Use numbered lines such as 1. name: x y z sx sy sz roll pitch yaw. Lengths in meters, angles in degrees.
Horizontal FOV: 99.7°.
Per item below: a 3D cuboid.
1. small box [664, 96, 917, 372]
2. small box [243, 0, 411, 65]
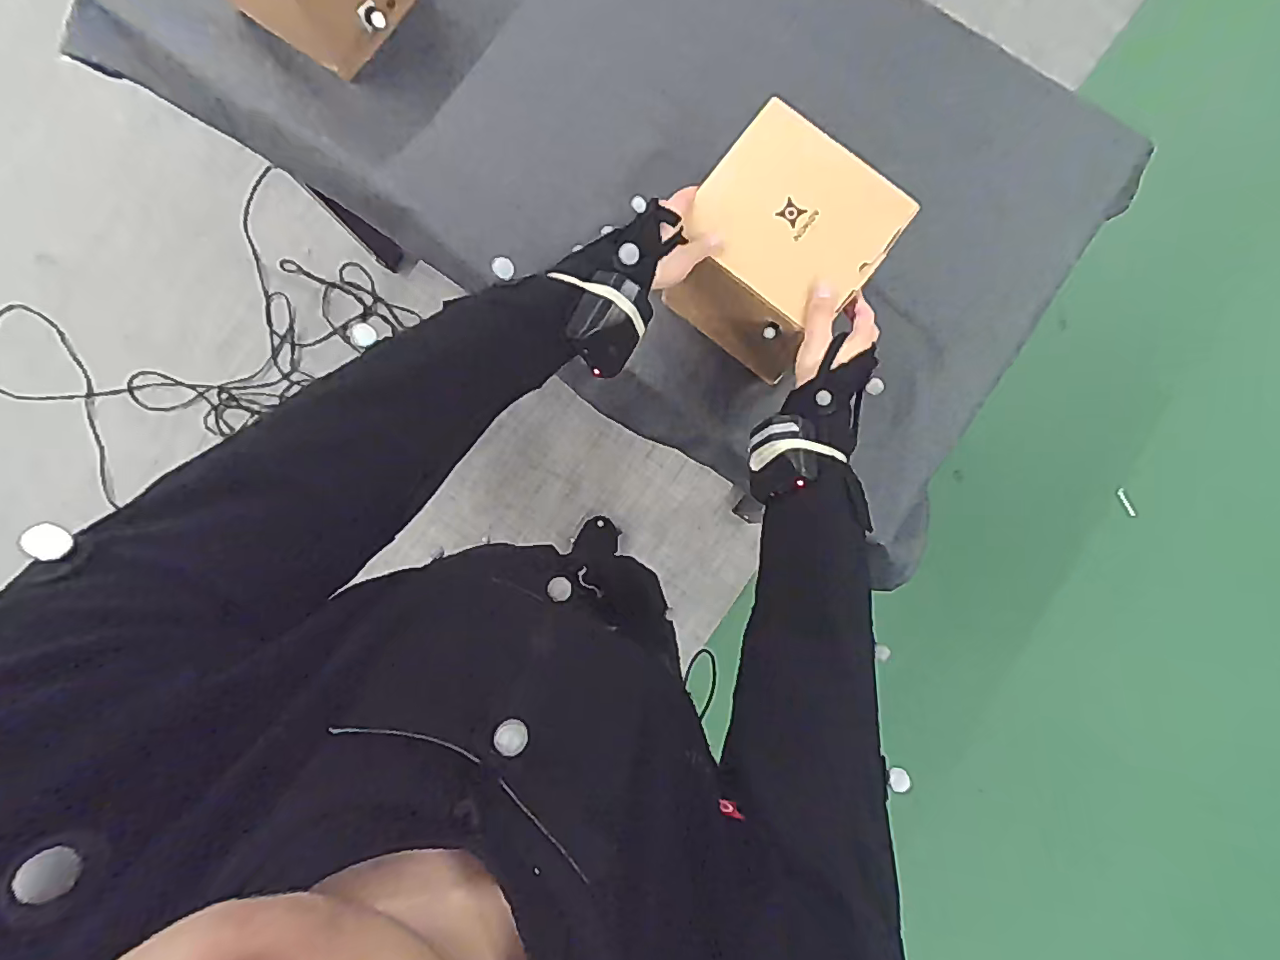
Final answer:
1. small box: 0.141 -0.241 0.580 0.179 0.176 0.168 38 86 1
2. small box: -0.380 -0.615 0.590 0.179 0.176 0.168 34 88 0
